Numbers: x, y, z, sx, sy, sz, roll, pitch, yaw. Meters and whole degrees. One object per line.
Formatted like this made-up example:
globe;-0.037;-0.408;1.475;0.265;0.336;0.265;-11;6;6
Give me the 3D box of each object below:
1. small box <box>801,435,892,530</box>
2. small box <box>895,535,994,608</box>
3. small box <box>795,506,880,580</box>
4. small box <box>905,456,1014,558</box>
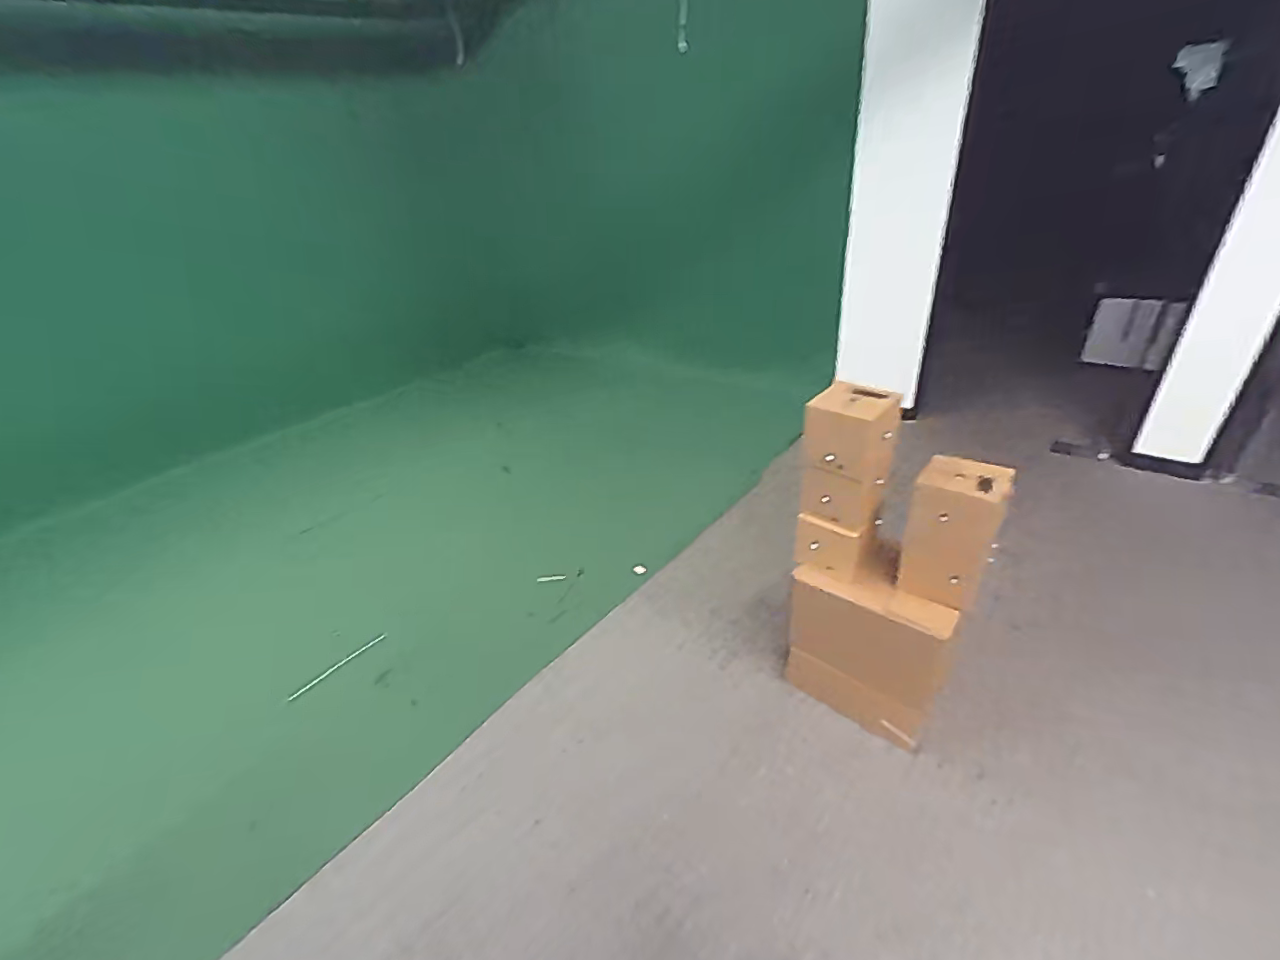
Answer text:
small box;0.546;0.007;1.444;0.168;0.176;0.179;25;44;37
small box;0.786;0.205;1.403;0.179;0.176;0.168;19;40;36
small box;0.551;0.151;1.525;0.168;0.176;0.179;23;42;36
small box;0.772;0.067;1.316;0.179;0.176;0.168;20;40;38
